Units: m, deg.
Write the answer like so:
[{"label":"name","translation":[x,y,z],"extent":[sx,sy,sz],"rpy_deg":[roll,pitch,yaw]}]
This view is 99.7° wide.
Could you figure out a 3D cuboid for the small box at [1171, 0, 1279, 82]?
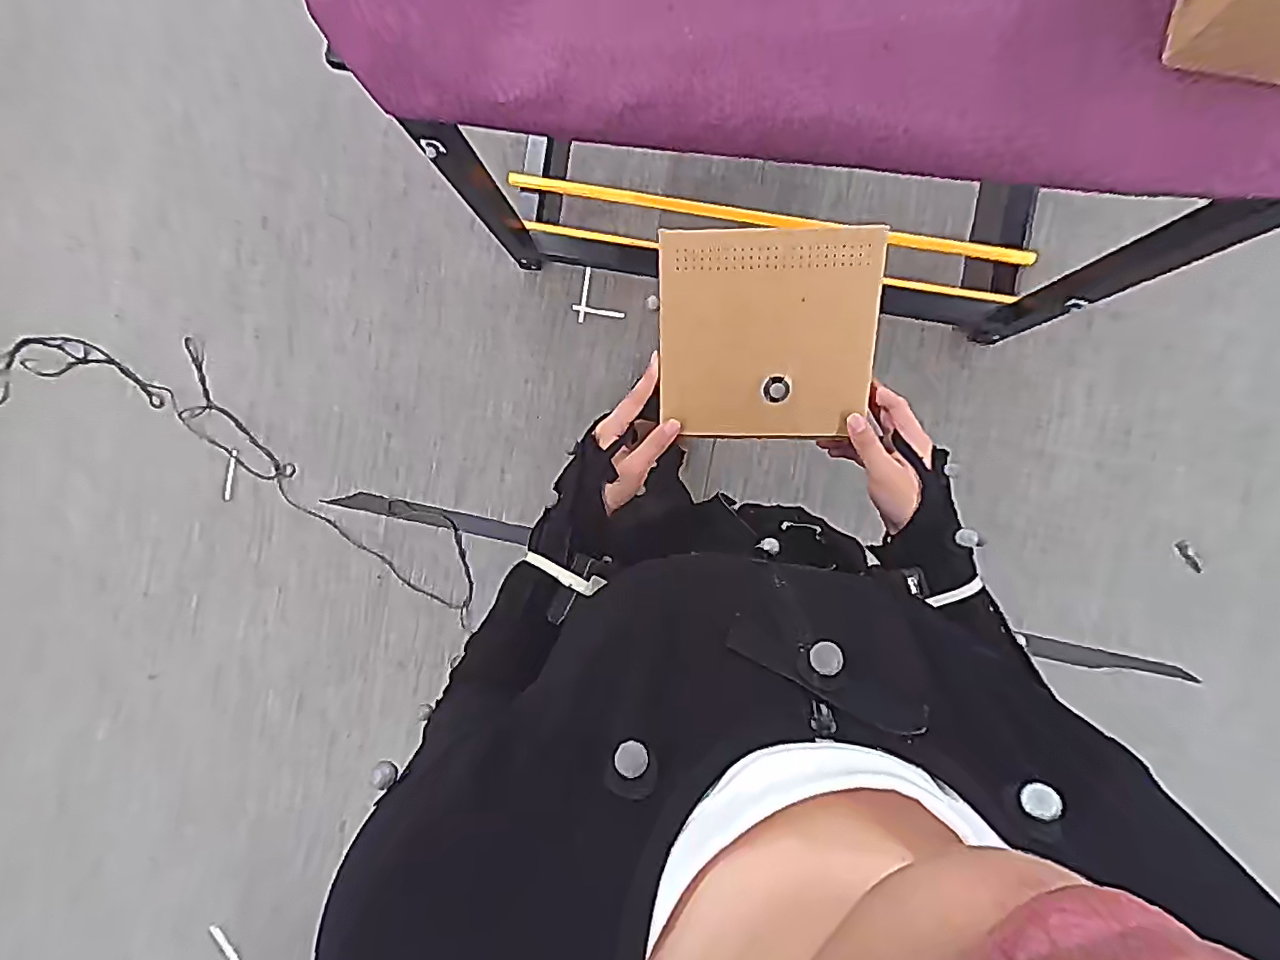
[{"label":"small box","translation":[0.656,-0.505,0.492],"extent":[0.179,0.176,0.168],"rpy_deg":[13,91,4]}]
